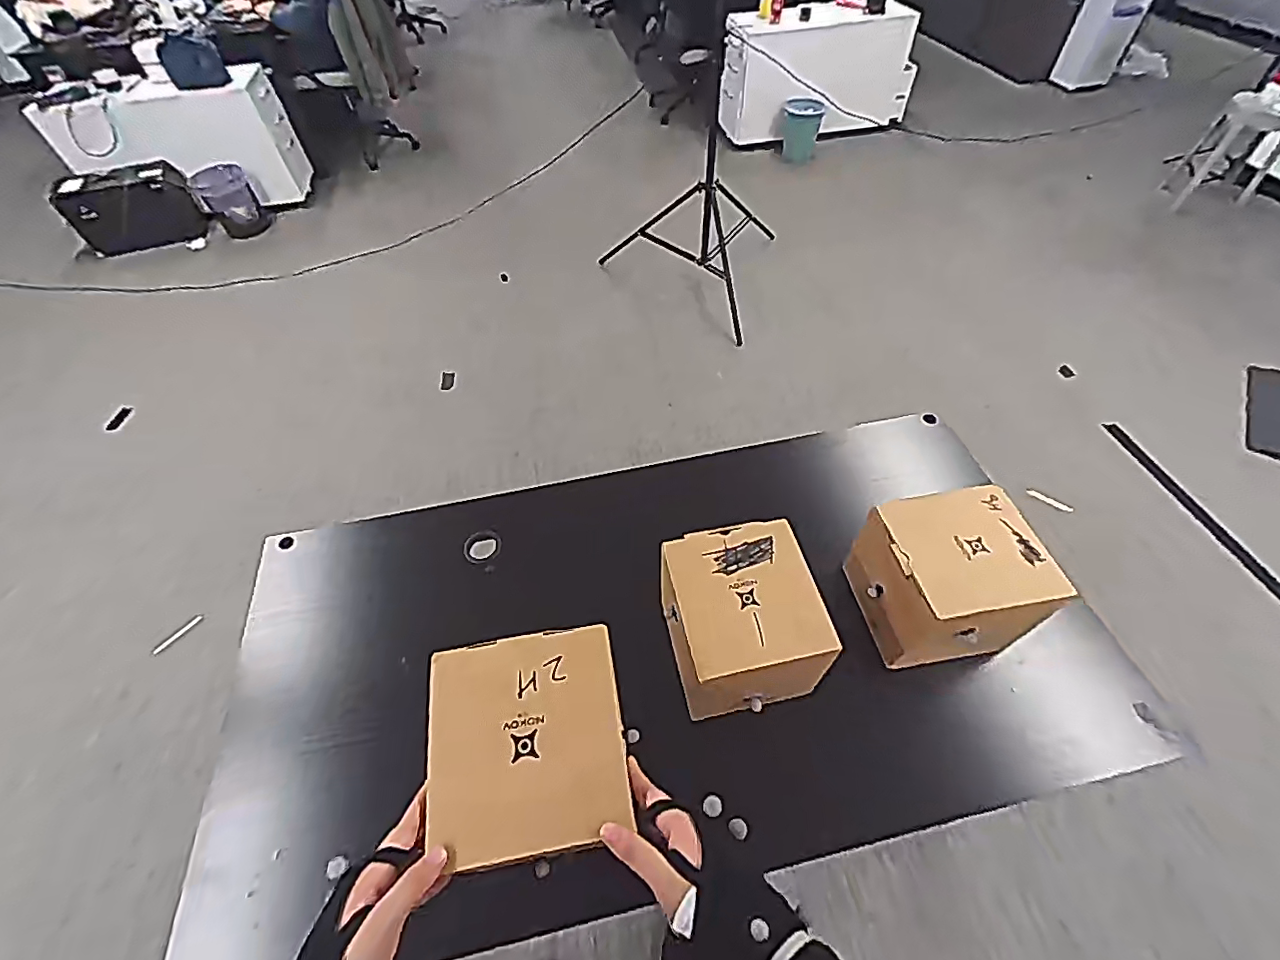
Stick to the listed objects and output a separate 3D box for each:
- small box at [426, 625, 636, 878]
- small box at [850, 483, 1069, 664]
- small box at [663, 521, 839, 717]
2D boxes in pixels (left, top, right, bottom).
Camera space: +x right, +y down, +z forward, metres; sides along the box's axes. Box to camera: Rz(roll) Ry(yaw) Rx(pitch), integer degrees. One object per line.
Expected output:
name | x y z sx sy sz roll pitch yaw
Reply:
small box | -0.097 0.265 0.530 0.168 0.176 0.179 -8 56 -6
small box | 0.400 0.131 0.724 0.179 0.176 0.168 -10 52 -3
small box | 0.125 0.181 0.698 0.168 0.176 0.179 -11 53 -5
